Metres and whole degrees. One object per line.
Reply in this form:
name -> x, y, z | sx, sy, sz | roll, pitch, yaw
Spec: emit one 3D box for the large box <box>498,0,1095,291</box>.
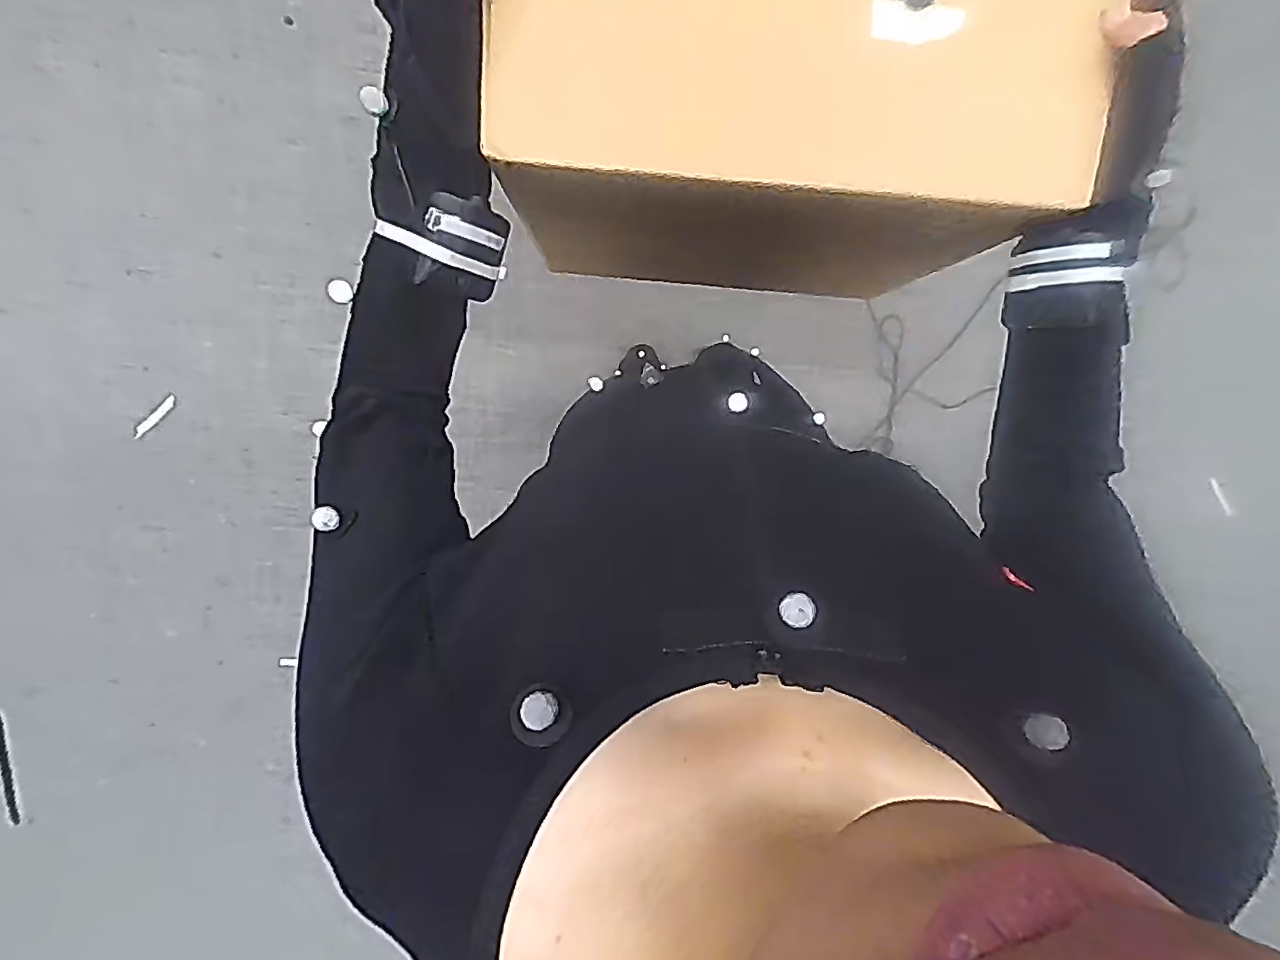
large box -> 0.102, -0.375, 0.501 | 0.408, 0.320, 0.320 | 3, 98, -2
